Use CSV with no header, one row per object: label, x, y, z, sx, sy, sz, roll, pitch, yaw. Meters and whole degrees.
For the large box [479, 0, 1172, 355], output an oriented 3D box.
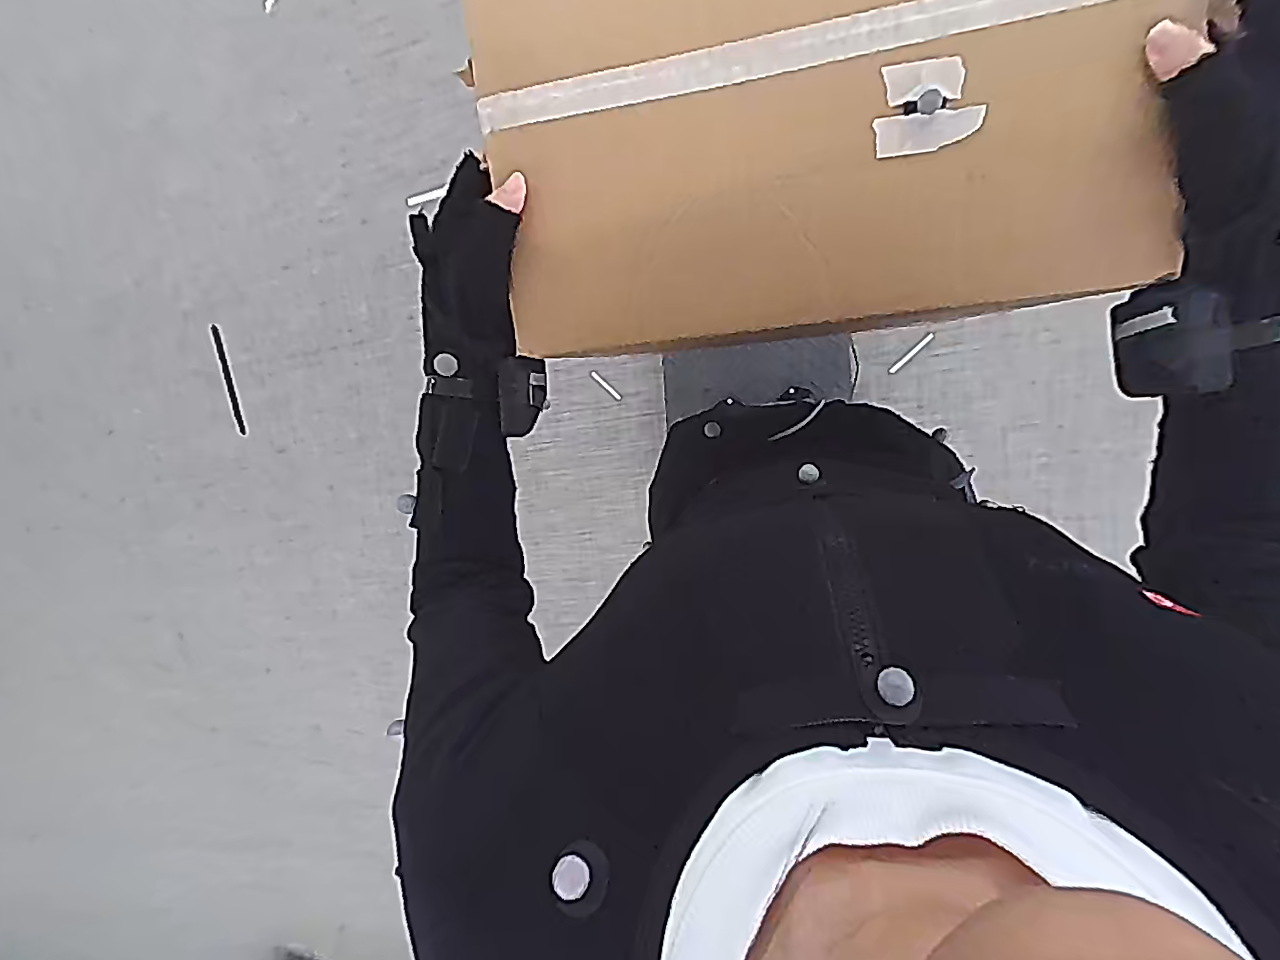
large box,0.119,-0.293,0.476,0.408,0.320,0.320,-4,102,10
